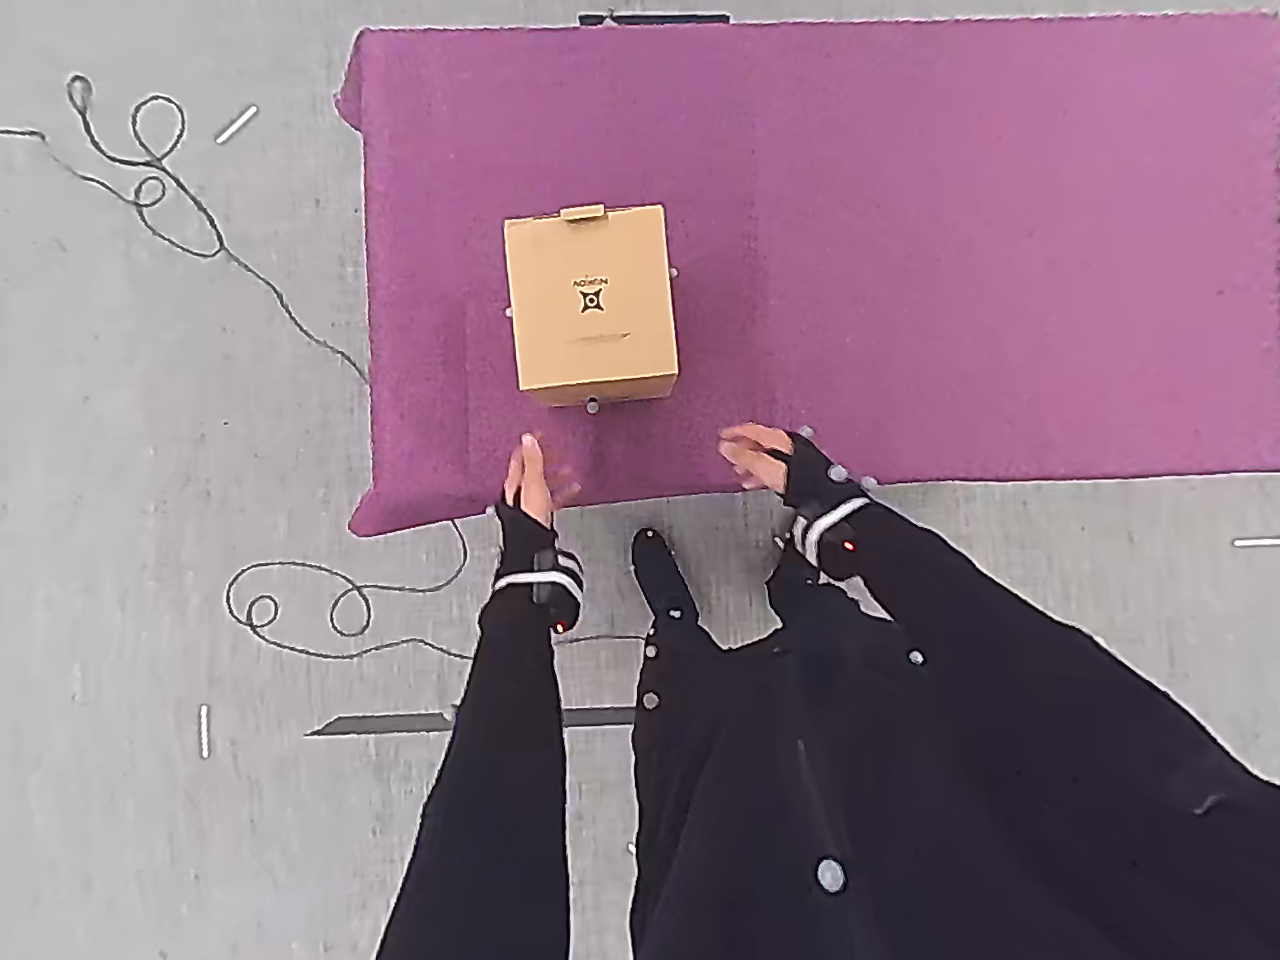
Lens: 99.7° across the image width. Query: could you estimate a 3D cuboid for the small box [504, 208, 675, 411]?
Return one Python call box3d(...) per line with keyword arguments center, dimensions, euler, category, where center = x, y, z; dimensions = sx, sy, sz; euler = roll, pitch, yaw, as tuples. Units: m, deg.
box3d(center=(-0.052, -0.182, 0.624), dimensions=(0.168, 0.176, 0.179), euler=(-5, 91, 0), category="small box")
